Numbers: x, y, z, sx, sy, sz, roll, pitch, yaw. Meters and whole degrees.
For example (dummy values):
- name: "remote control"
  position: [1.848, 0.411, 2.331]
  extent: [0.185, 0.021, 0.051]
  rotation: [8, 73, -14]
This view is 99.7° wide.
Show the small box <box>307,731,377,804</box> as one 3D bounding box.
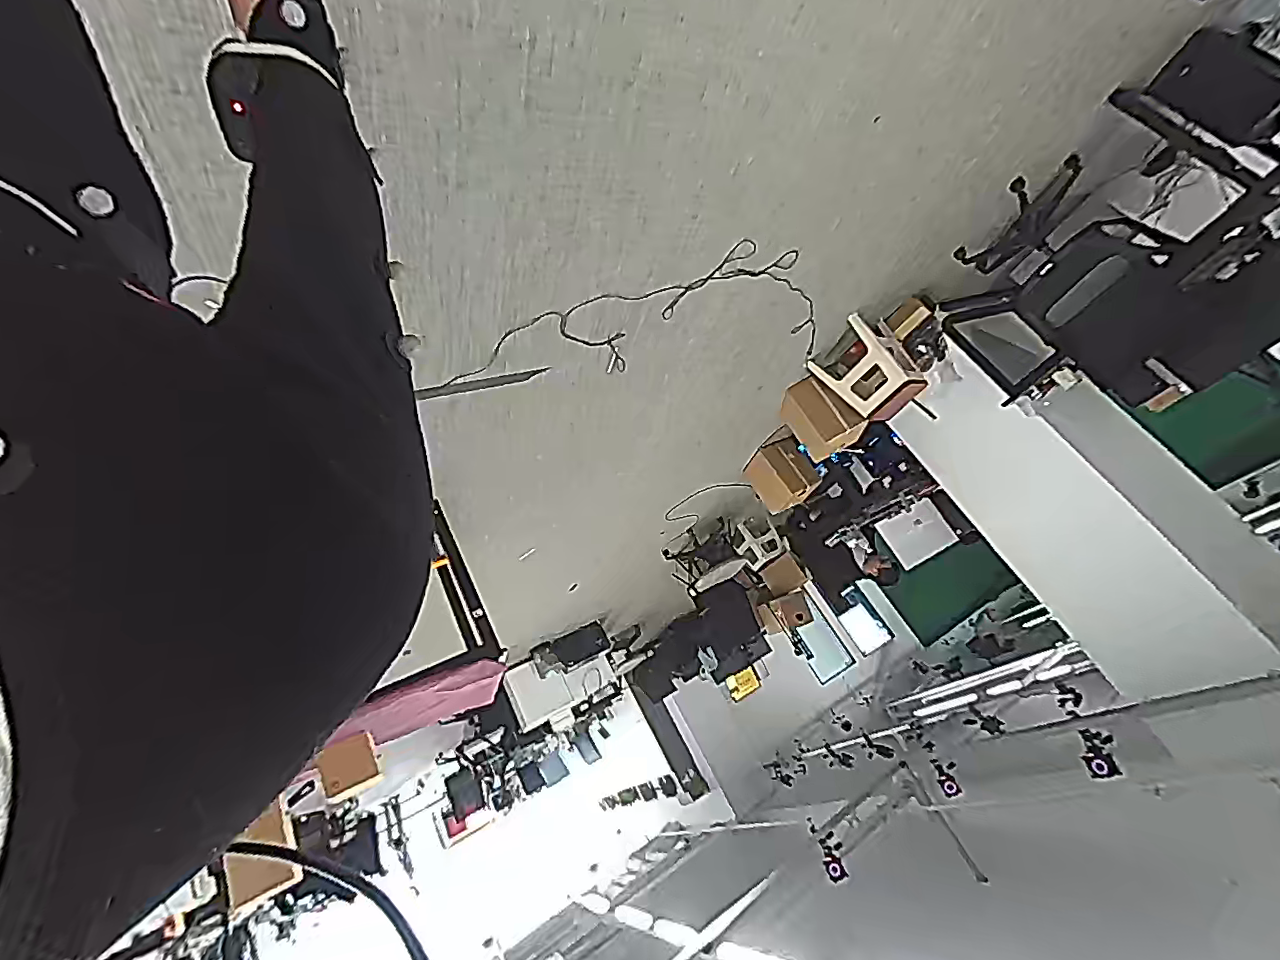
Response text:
- name: "small box"
  position: [-1.069, 1.033, 1.948]
  extent: [0.179, 0.176, 0.168]
  rotation: [-18, 154, -29]

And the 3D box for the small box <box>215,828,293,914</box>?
- name: "small box"
  position: [-1.248, 1.261, 1.753]
  extent: [0.168, 0.176, 0.179]
  rotation: [-17, 153, -33]

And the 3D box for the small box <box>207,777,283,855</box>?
- name: "small box"
  position: [-1.325, 1.130, 1.818]
  extent: [0.168, 0.176, 0.179]
  rotation: [-16, 153, -33]
